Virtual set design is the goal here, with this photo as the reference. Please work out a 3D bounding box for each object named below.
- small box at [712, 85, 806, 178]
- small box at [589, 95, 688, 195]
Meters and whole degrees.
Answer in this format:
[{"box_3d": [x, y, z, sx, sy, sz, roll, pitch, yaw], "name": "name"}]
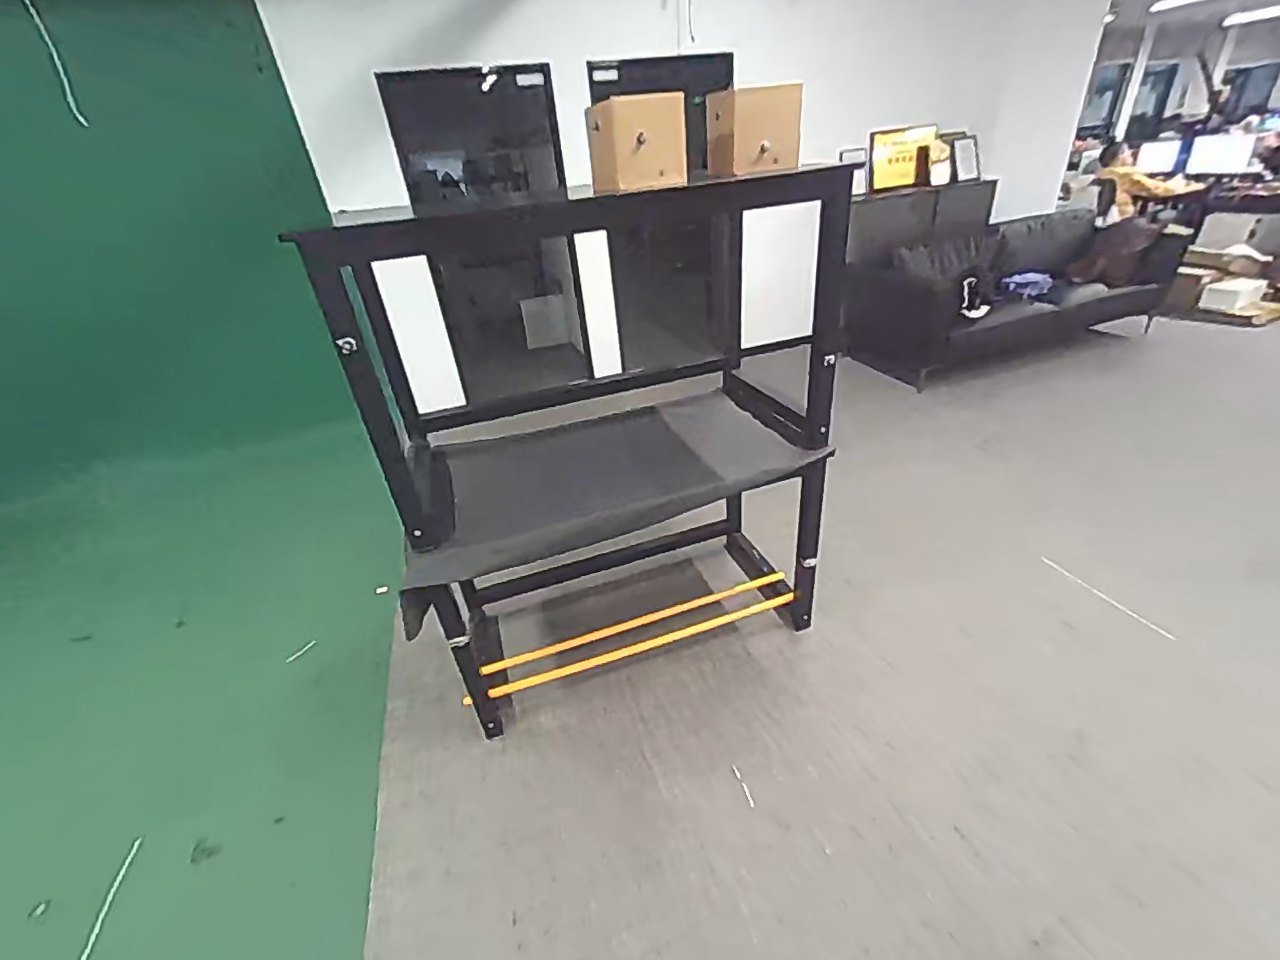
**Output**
[{"box_3d": [0.274, -0.817, 1.280, 0.168, 0.176, 0.179, -12, 32, -8], "name": "small box"}, {"box_3d": [-0.001, -0.742, 1.209, 0.168, 0.176, 0.179, -17, 31, -17], "name": "small box"}]
